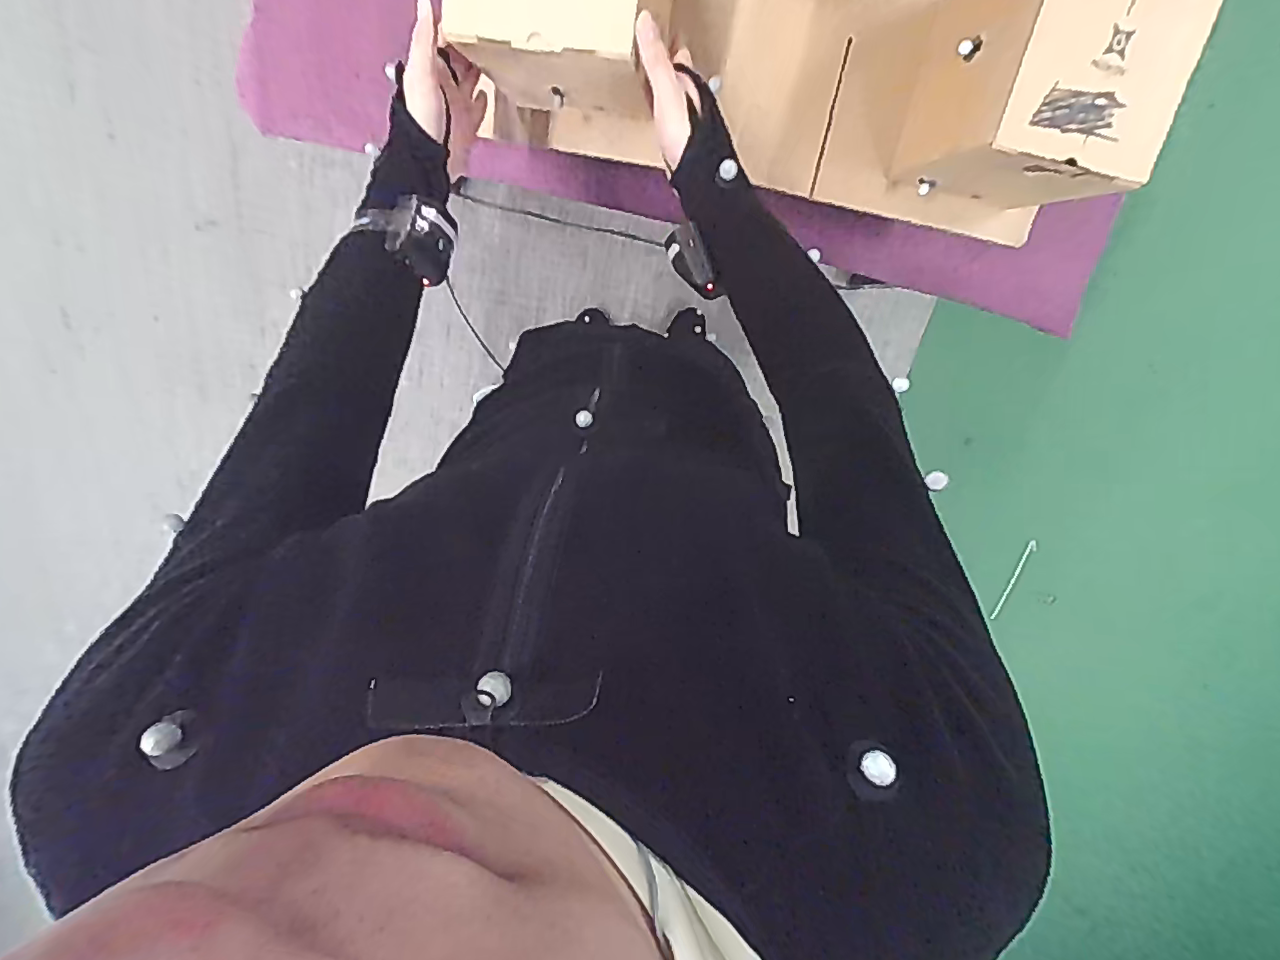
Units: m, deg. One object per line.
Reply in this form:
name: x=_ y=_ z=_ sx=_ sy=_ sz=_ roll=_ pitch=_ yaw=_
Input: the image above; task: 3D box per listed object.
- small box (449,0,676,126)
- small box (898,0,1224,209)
small box: x=-0.058 y=-0.457 z=0.496 sx=0.168 sy=0.176 sz=0.179 roll=10 pitch=111 yaw=5
small box: x=0.389 y=-0.385 z=0.535 sx=0.168 sy=0.176 sz=0.179 roll=7 pitch=108 yaw=-11
